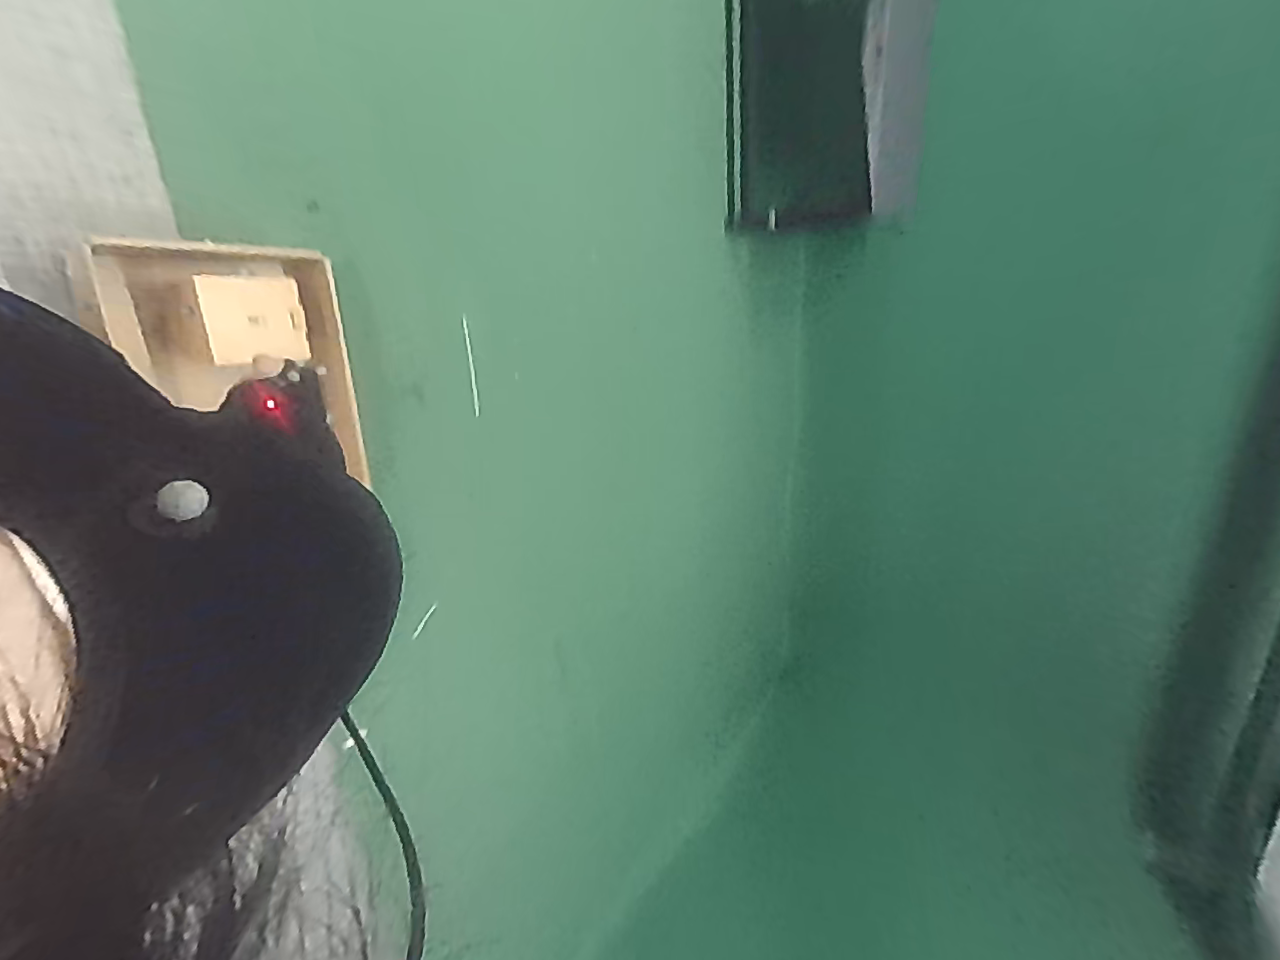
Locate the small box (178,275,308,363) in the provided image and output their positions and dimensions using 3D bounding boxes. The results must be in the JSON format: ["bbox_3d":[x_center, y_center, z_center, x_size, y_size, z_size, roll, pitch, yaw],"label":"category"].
[{"bbox_3d":[-0.834,-0.333,1.132,0.179,0.176,0.168,-20,115,-46],"label":"small box"}]
